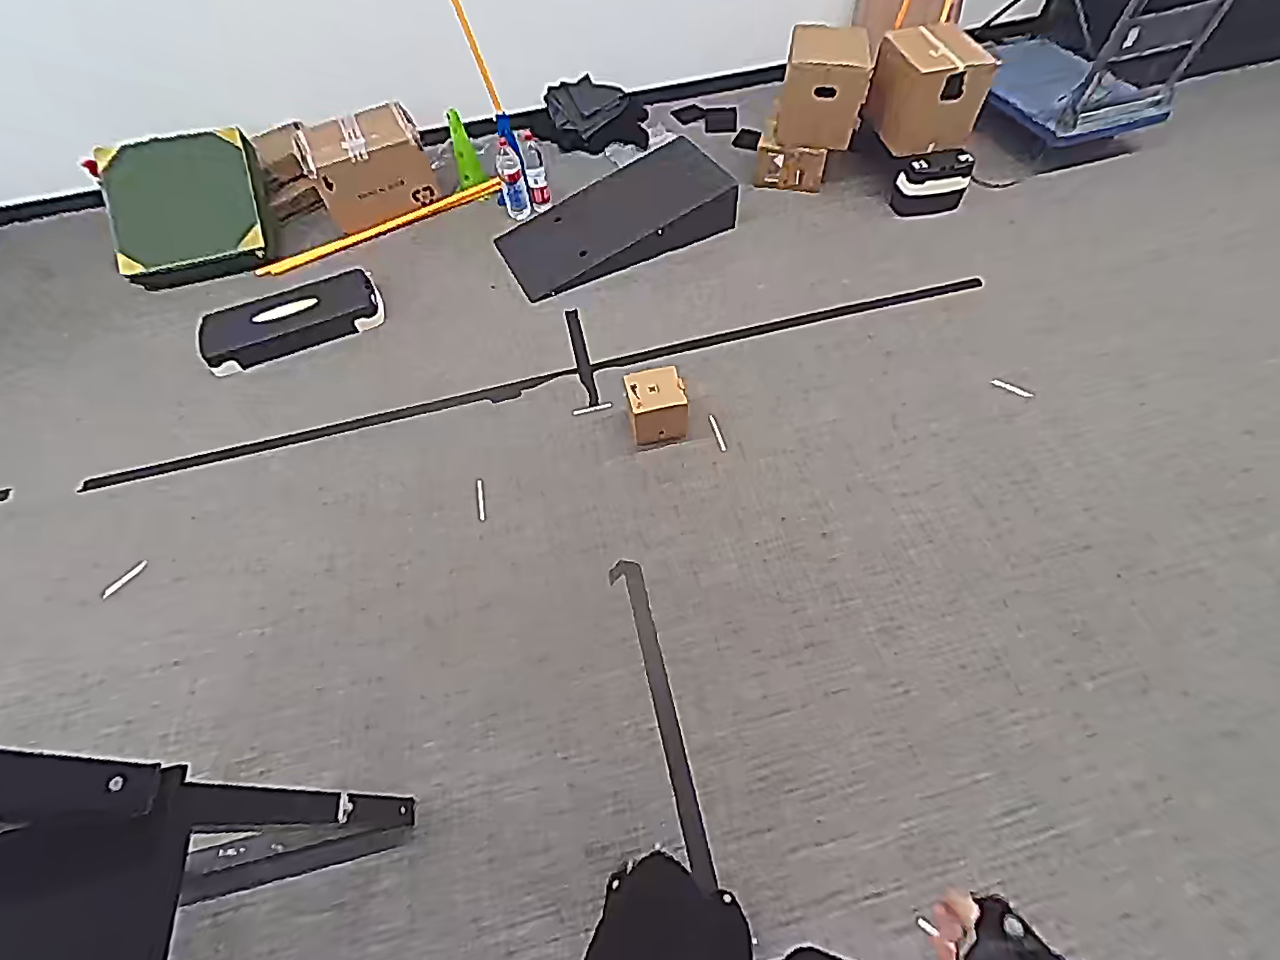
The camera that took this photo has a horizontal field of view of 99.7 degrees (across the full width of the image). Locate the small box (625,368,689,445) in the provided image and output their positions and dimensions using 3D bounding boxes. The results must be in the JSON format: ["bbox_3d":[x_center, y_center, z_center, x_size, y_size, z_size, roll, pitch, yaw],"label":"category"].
[{"bbox_3d":[0.051,-0.238,1.762,0.179,0.176,0.168,-11,58,-5],"label":"small box"}]
